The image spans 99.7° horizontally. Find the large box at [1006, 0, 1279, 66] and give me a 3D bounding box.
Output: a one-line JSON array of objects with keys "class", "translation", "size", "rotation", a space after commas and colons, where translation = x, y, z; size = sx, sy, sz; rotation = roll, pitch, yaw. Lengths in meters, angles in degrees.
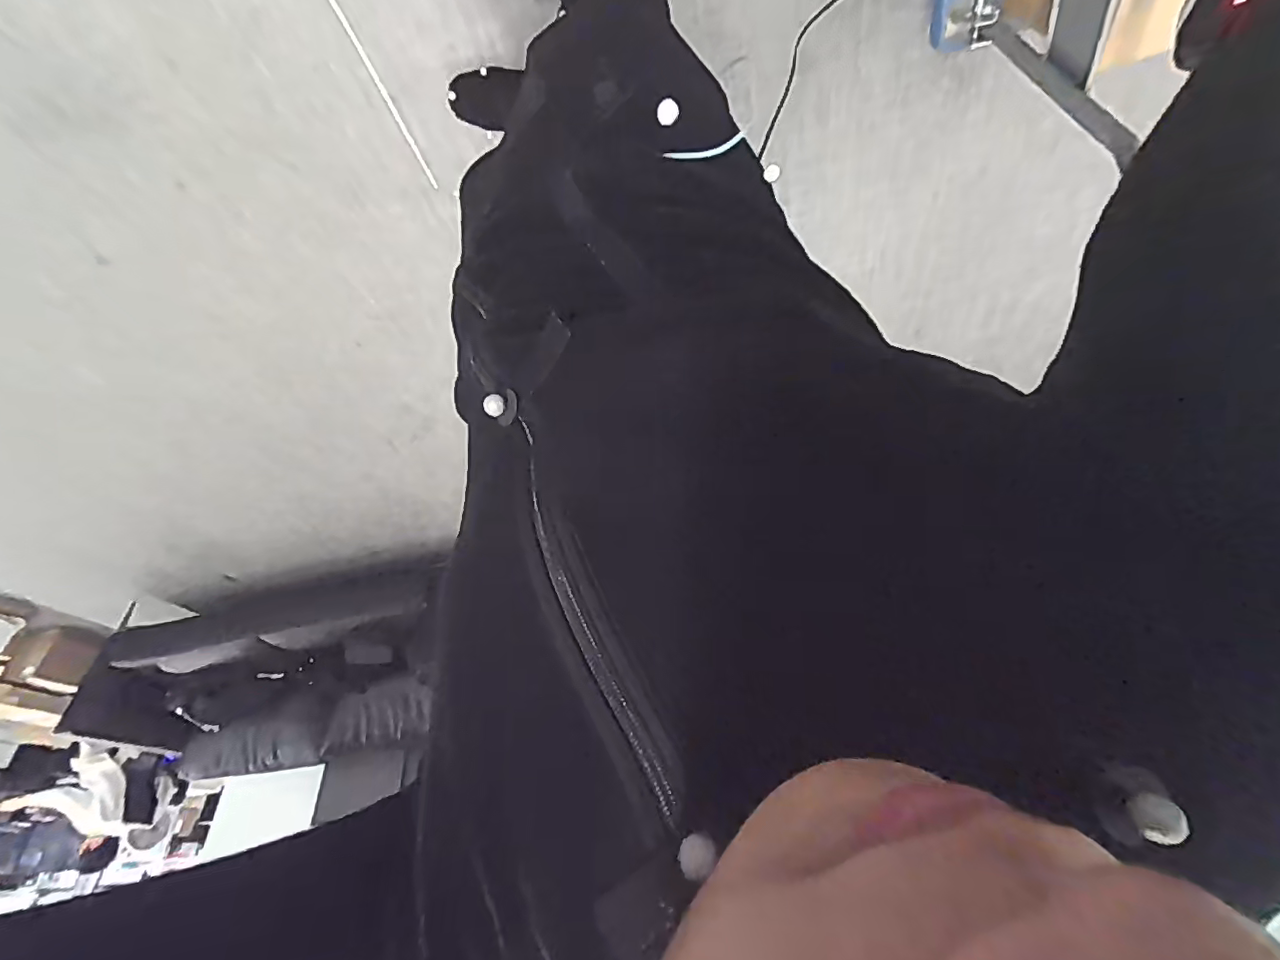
[{"class": "large box", "translation": [0.805, -0.862, 0.732], "size": [0.408, 0.320, 0.320], "rotation": [-14, 144, 12]}]
